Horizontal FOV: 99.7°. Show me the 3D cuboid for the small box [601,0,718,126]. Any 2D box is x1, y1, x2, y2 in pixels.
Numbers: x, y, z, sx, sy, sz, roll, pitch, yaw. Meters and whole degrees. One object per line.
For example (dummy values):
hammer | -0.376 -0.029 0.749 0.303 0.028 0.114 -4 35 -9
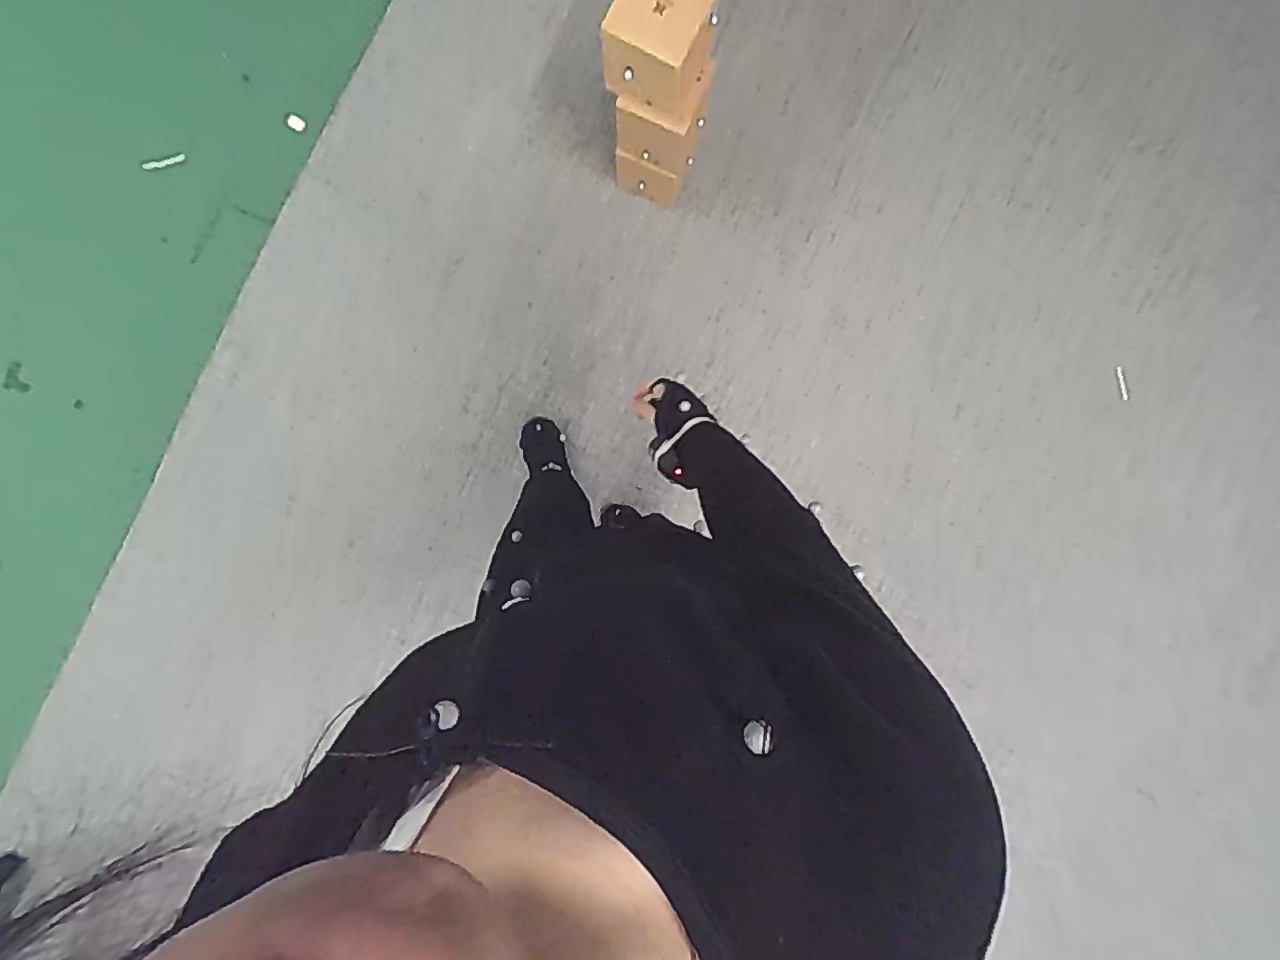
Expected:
small box | 0.039 -0.864 1.083 0.168 0.176 0.179 28 90 0
